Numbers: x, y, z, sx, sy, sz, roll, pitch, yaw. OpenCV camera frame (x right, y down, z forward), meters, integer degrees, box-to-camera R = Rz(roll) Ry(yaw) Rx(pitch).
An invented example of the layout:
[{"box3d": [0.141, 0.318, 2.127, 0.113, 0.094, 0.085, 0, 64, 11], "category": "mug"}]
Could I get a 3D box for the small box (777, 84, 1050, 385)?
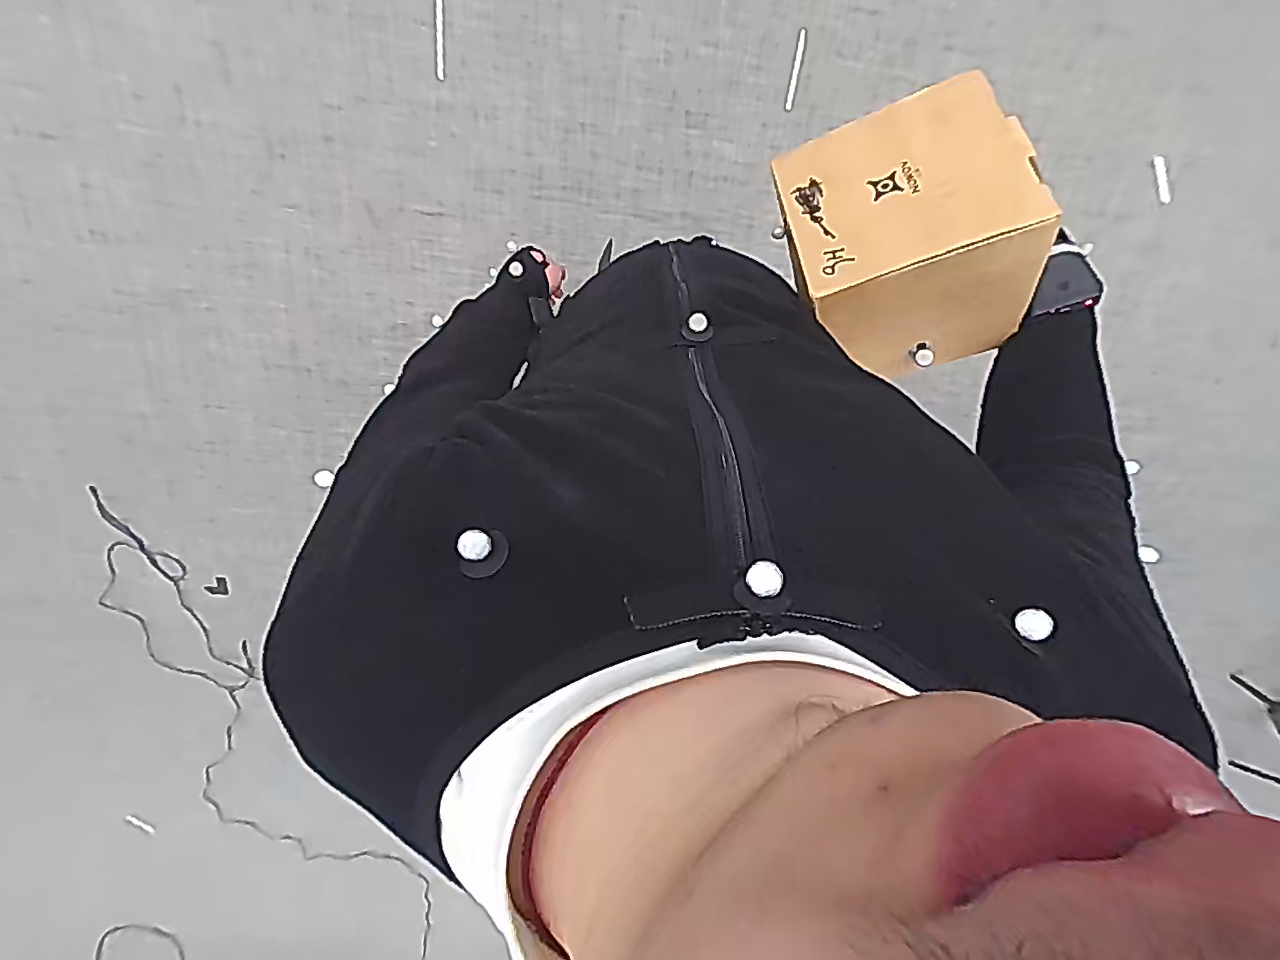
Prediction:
[{"box3d": [0.245, -0.218, 0.524, 0.179, 0.168, 0.176, -15, 155, 18], "category": "small box"}]
